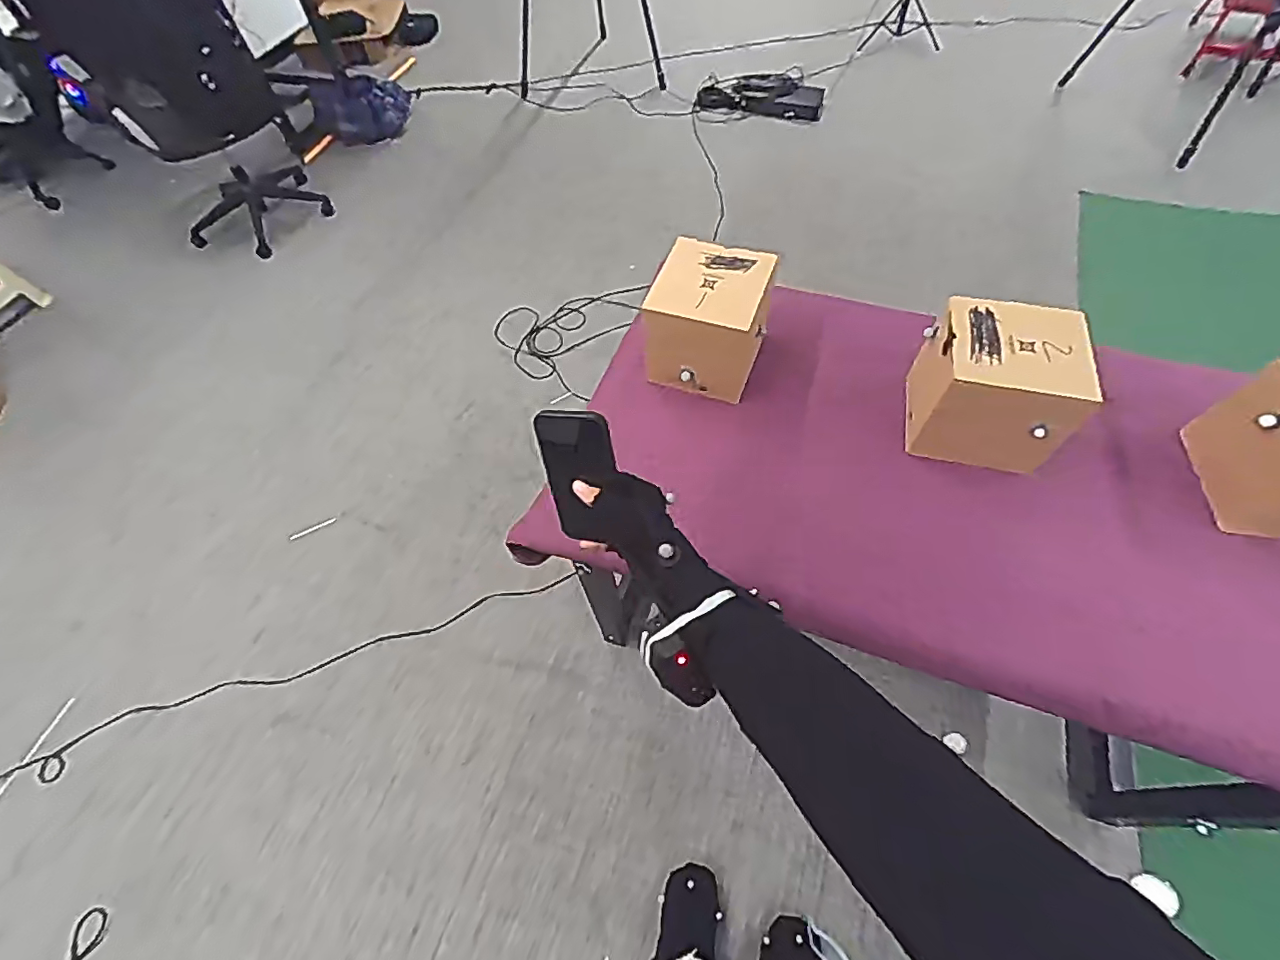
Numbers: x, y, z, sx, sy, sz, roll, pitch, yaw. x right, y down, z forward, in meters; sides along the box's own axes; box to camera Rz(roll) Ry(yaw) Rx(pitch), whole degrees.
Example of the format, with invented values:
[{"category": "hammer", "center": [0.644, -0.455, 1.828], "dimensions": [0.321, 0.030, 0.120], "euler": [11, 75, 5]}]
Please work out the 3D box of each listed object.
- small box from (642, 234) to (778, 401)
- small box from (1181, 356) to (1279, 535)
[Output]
[{"category": "small box", "center": [0.111, -0.262, 0.882], "dimensions": [0.168, 0.176, 0.179], "euler": [17, 63, 14]}, {"category": "small box", "center": [0.869, -0.032, 0.692], "dimensions": [0.168, 0.176, 0.179], "euler": [7, 58, 9]}]
